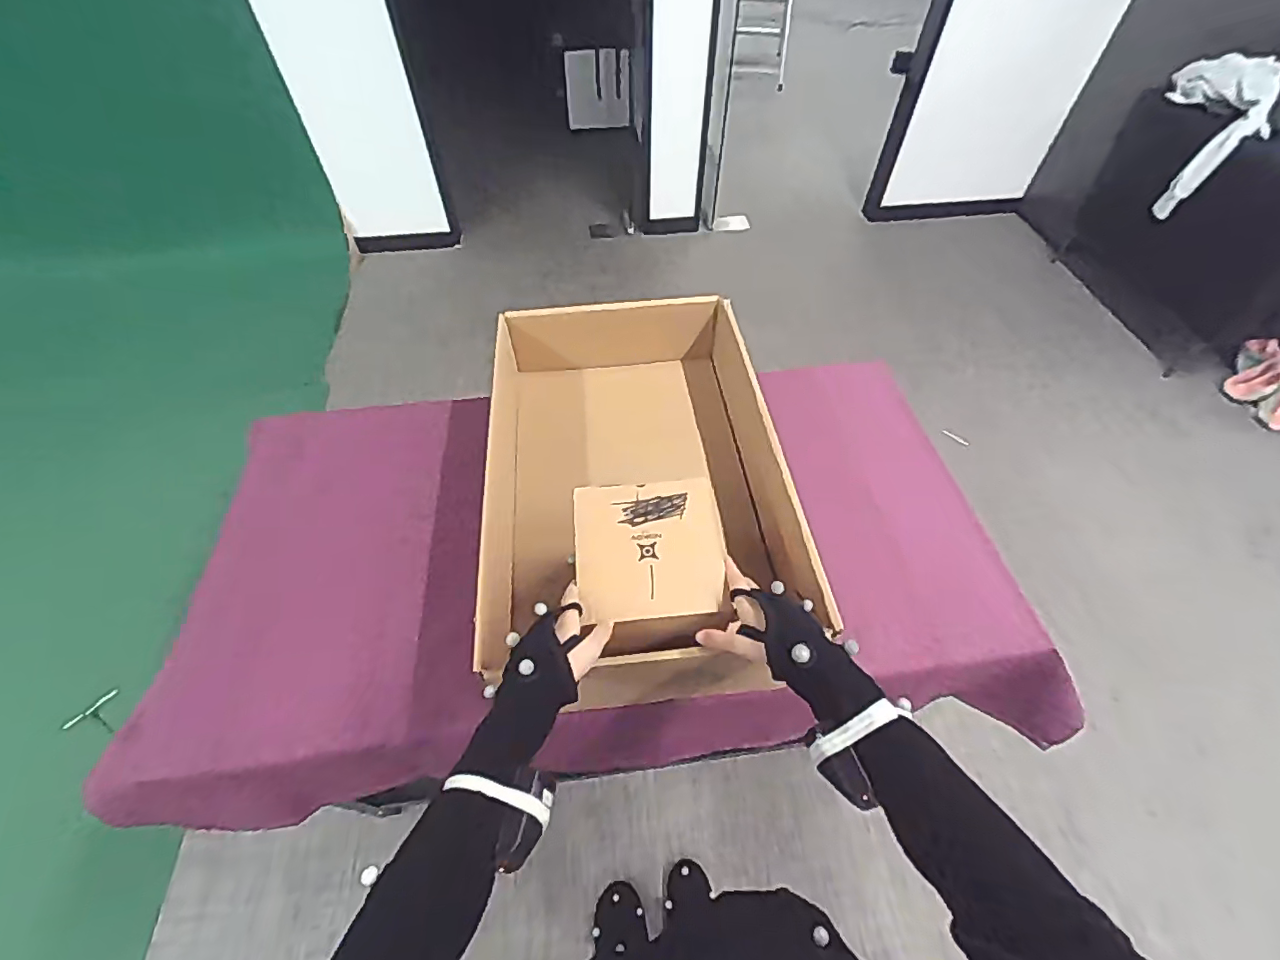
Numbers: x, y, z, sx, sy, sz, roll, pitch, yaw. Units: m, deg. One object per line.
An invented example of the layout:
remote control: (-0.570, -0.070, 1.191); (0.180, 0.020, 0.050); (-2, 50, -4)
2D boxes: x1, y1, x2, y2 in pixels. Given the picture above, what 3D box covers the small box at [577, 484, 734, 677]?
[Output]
small box: (0.011, 0.127, 0.675); (0.168, 0.176, 0.179); (-5, 54, -3)
